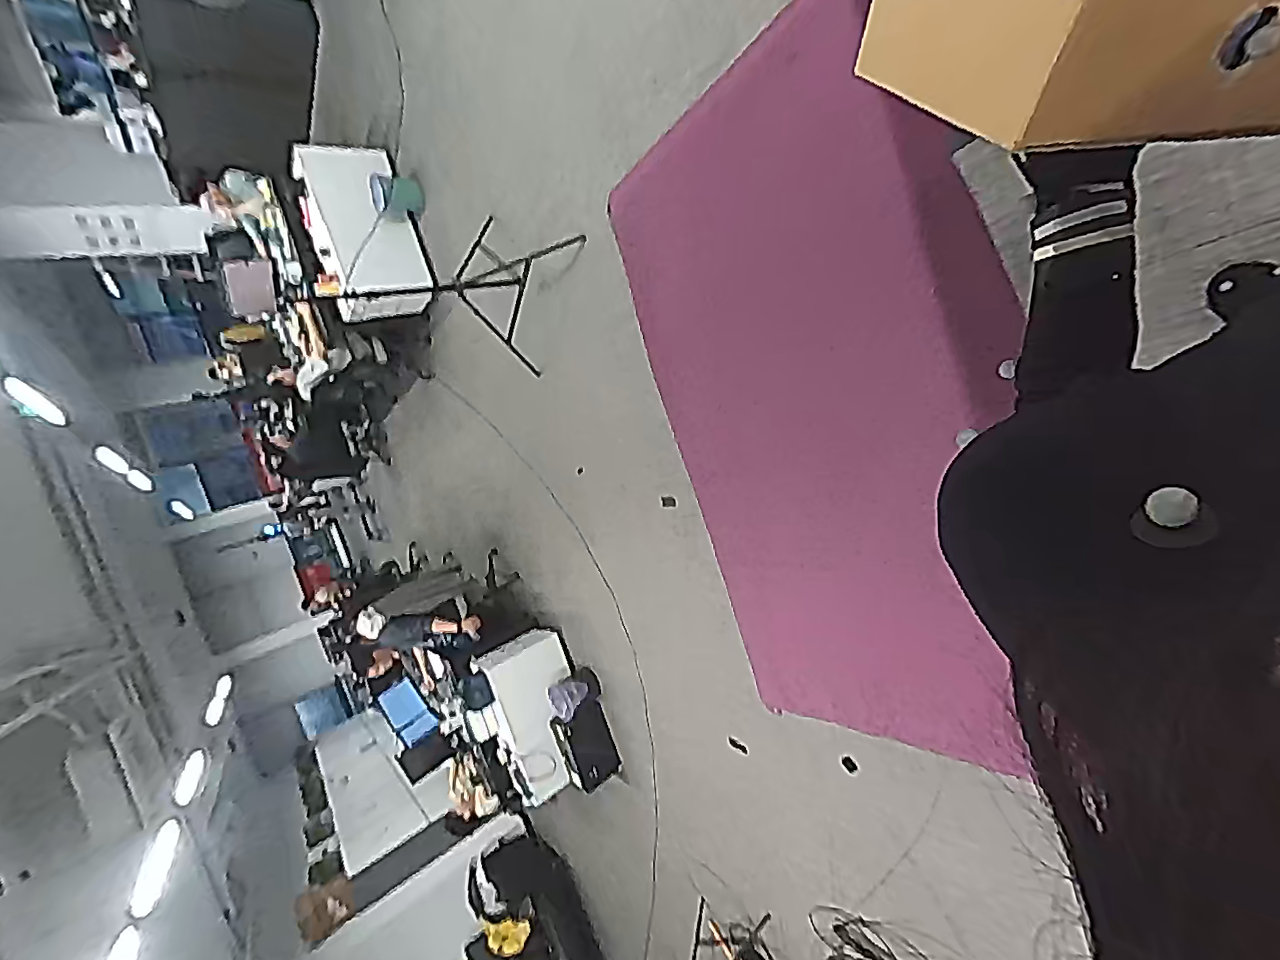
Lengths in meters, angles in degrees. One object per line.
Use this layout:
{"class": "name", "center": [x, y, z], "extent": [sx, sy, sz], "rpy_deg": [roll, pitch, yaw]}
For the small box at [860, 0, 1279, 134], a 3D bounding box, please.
{"class": "small box", "center": [0.241, -0.285, 0.249], "extent": [0.176, 0.179, 0.168], "rpy_deg": [90, 170, -48]}
